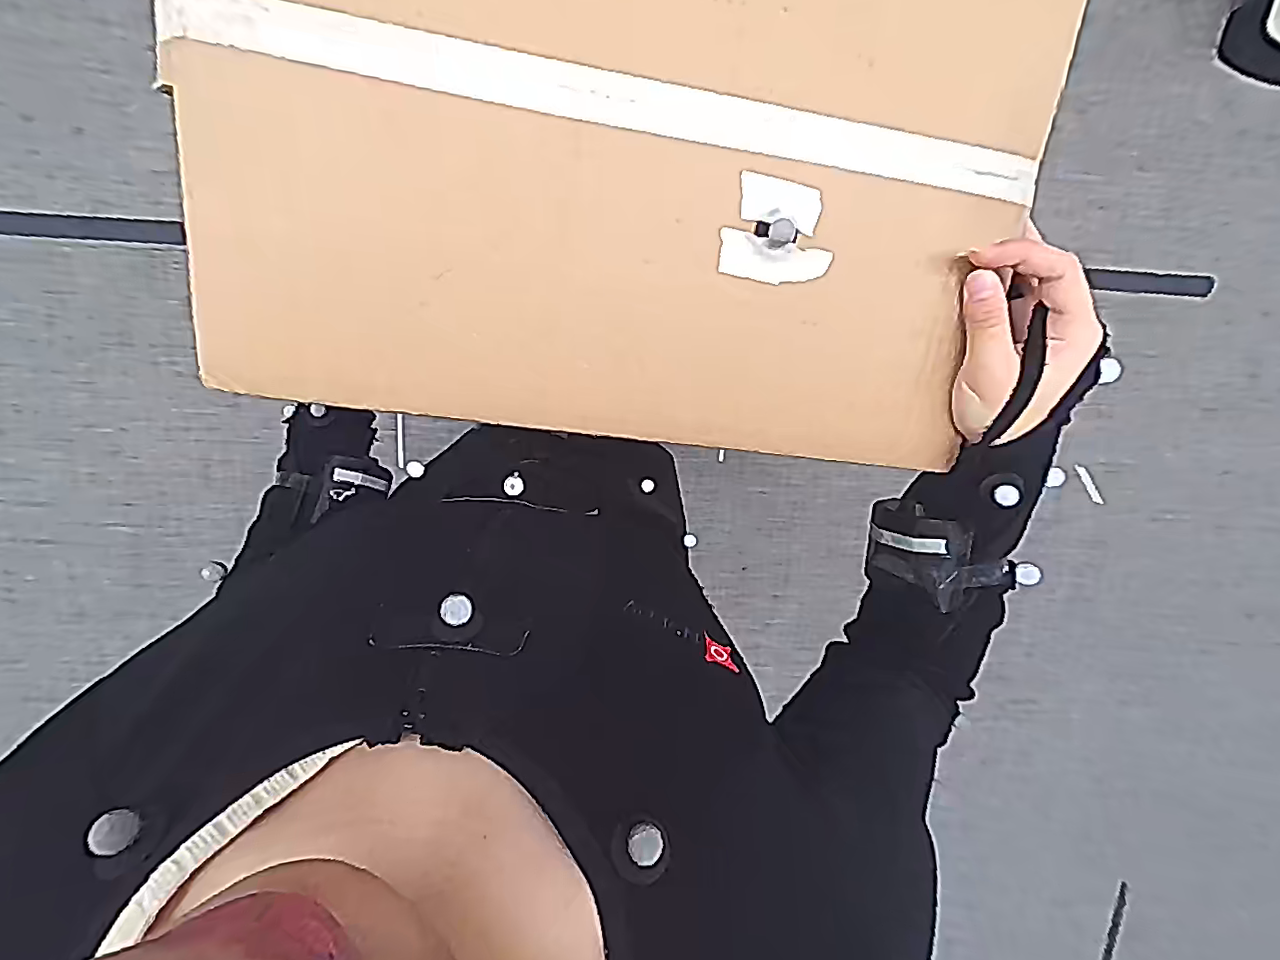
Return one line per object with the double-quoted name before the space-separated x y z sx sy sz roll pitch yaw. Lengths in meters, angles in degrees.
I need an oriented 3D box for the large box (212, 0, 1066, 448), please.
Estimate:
"large box" -0.012 -0.219 0.406 0.408 0.320 0.320 5 105 -11
